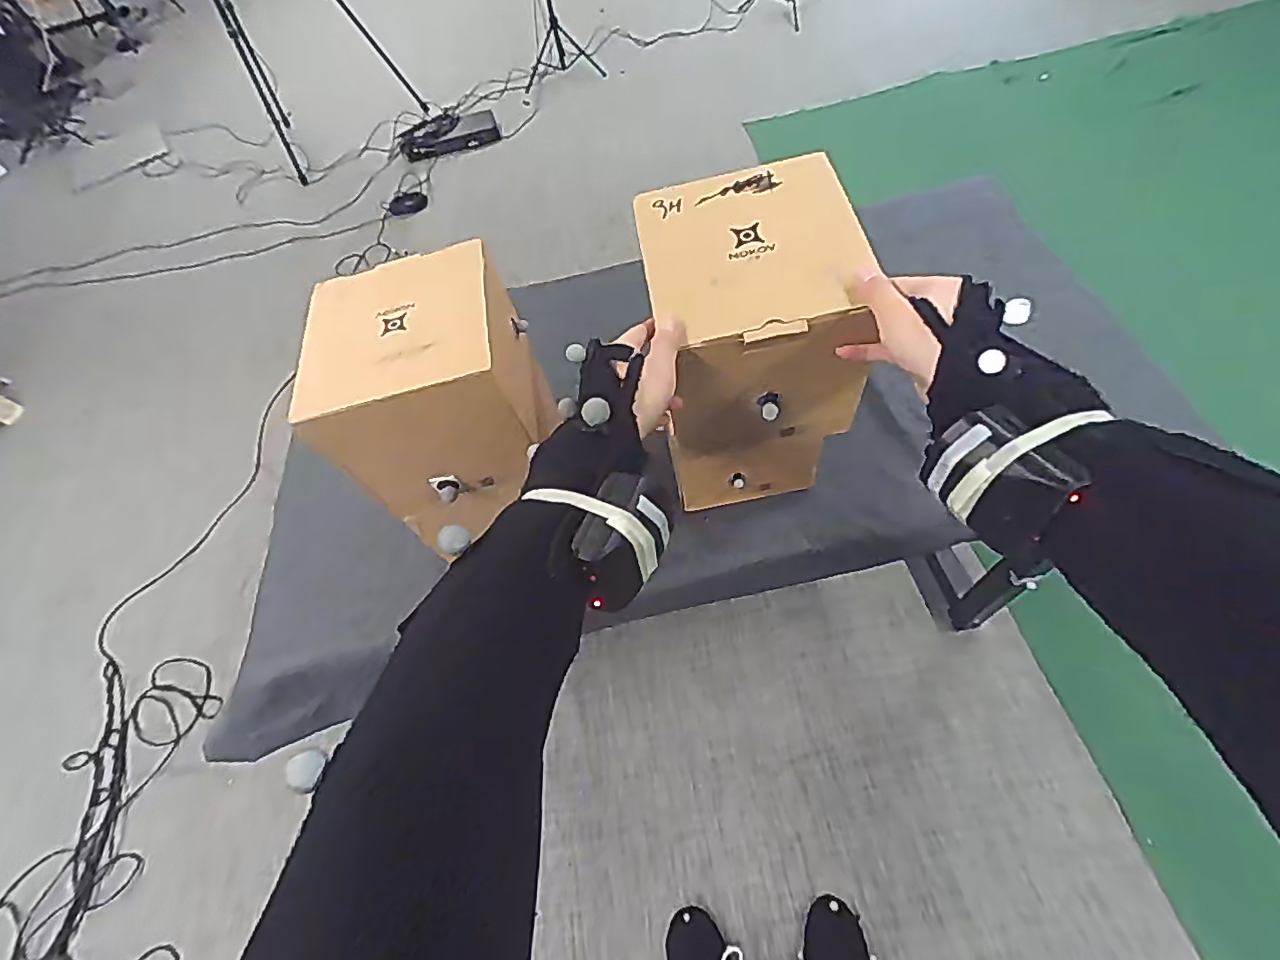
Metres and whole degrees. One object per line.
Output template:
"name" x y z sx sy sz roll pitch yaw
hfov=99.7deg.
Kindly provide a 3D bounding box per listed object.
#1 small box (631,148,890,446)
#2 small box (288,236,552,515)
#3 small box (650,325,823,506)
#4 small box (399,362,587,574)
"small box" 0.095 -0.144 0.479 0.168 0.176 0.179 -11 63 5
"small box" -0.194 -0.093 0.521 0.168 0.176 0.179 -16 59 1
"small box" 0.111 -0.093 0.662 0.168 0.176 0.179 -12 58 2
"small box" -0.170 -0.009 0.658 0.168 0.176 0.179 -15 58 1
